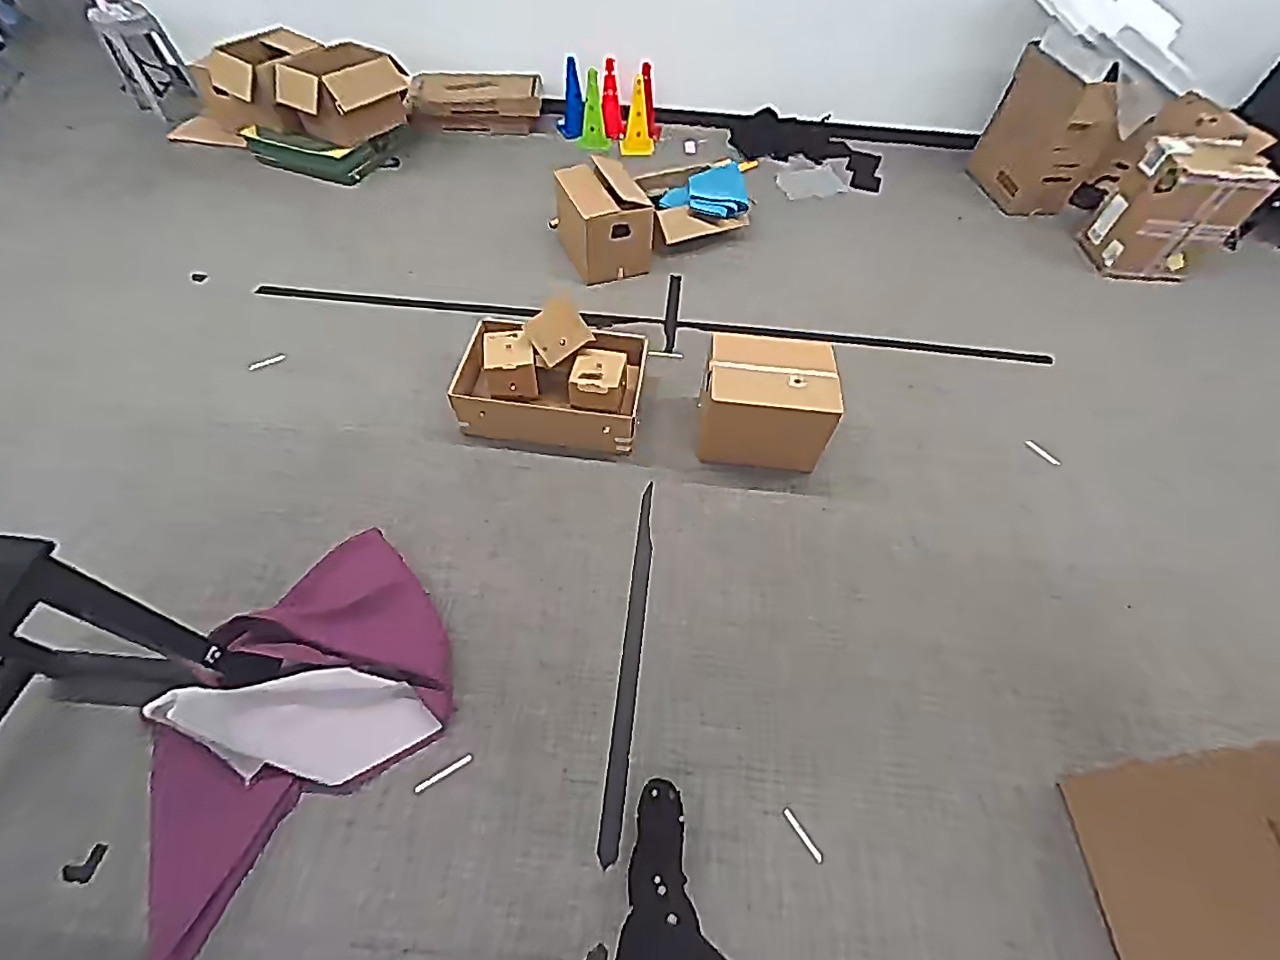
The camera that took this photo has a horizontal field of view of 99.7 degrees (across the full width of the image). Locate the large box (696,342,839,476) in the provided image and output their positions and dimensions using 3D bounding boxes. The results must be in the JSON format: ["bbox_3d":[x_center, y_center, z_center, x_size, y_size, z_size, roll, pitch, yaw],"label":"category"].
[{"bbox_3d":[0.409,-0.236,1.843,0.408,0.320,0.320,6,55,0],"label":"large box"}]
